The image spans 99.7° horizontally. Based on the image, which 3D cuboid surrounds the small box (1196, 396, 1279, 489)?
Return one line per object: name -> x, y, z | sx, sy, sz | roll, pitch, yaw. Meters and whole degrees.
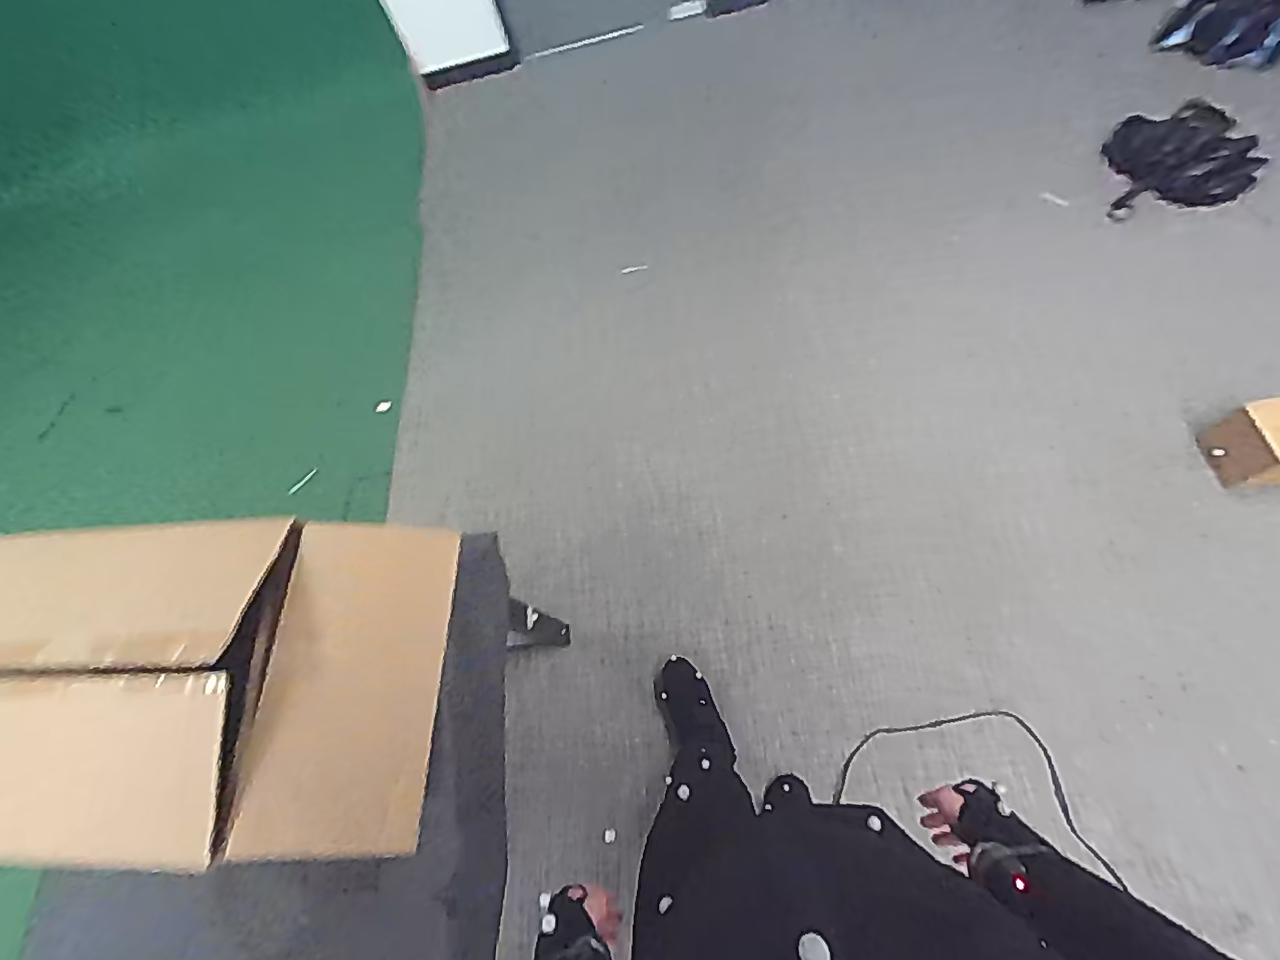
small box -> 1.519, -0.092, 1.293 | 0.179, 0.176, 0.168 | -9, 66, 8
